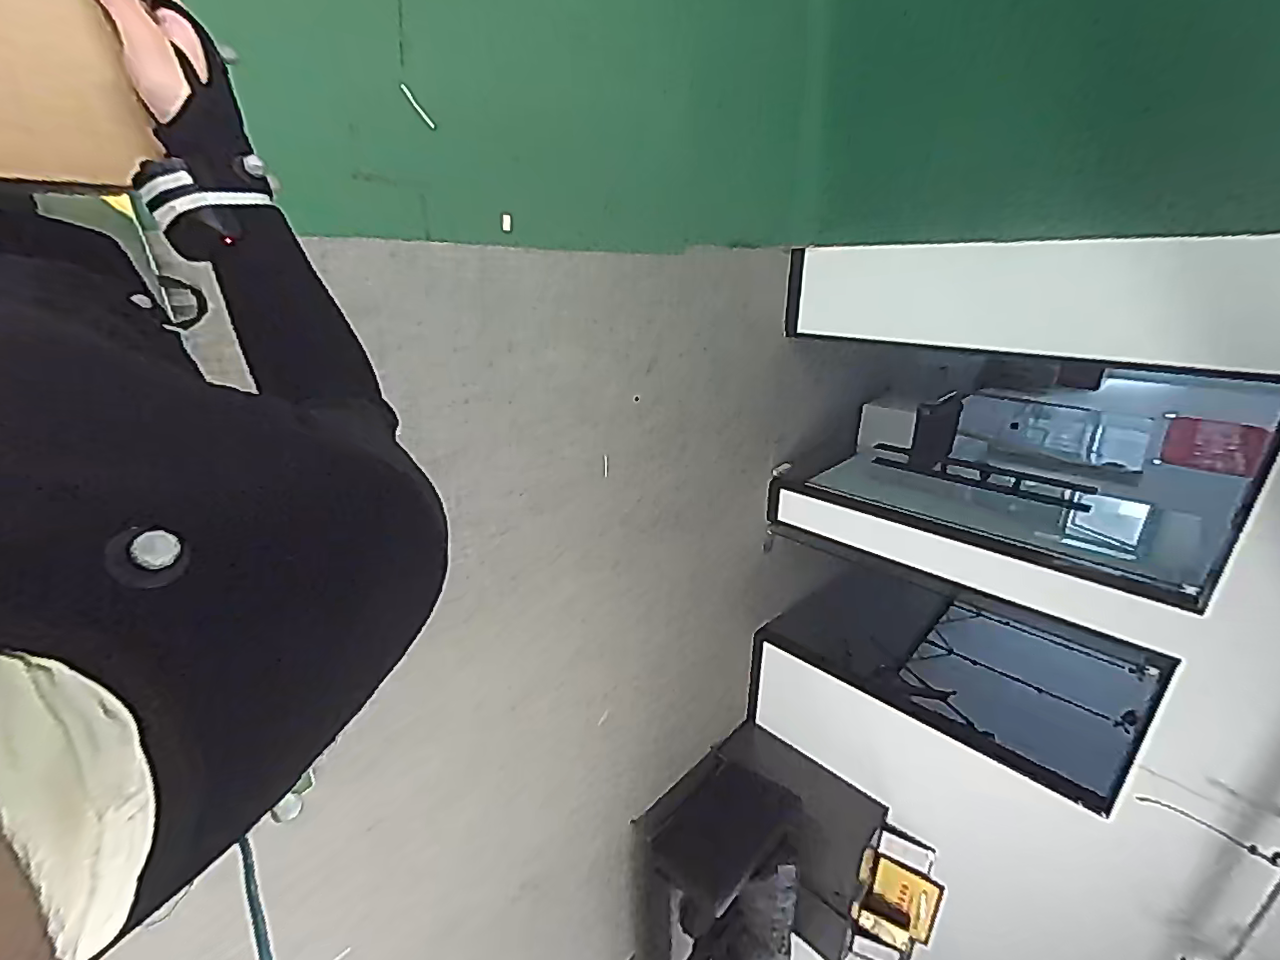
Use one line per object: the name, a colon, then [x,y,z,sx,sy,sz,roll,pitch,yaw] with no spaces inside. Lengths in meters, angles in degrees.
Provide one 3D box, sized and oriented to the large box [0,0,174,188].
large box: [-0.626,-0.375,0.342,0.408,0.320,0.320,-24,125,-43]
